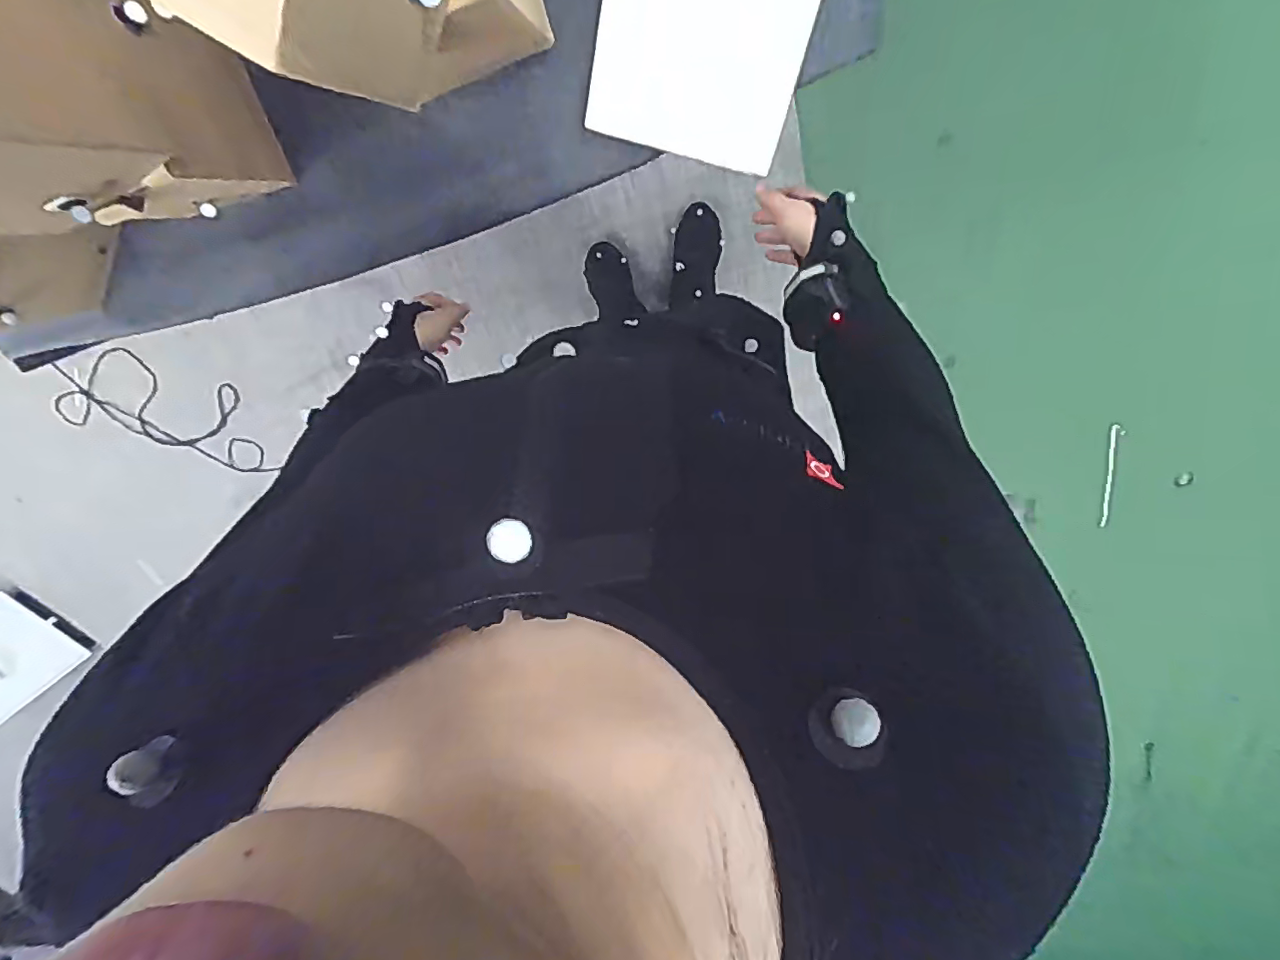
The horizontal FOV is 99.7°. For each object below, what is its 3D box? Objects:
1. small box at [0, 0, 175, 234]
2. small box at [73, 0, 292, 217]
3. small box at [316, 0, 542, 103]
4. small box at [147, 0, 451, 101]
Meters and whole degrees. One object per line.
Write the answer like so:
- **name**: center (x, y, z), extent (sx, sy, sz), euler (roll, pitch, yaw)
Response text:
- **small box**: center (-0.524, -0.297, 0.401), extent (0.168, 0.176, 0.179), euler (-19, 114, 18)
- **small box**: center (-0.508, -0.374, 0.543), extent (0.168, 0.176, 0.179), euler (-9, 116, 13)
- **small box**: center (-0.198, -0.452, 0.459), extent (0.179, 0.176, 0.168), euler (-12, 115, 15)
- **small box**: center (-0.227, -0.363, 0.323), extent (0.179, 0.176, 0.168), euler (29, 119, -8)
